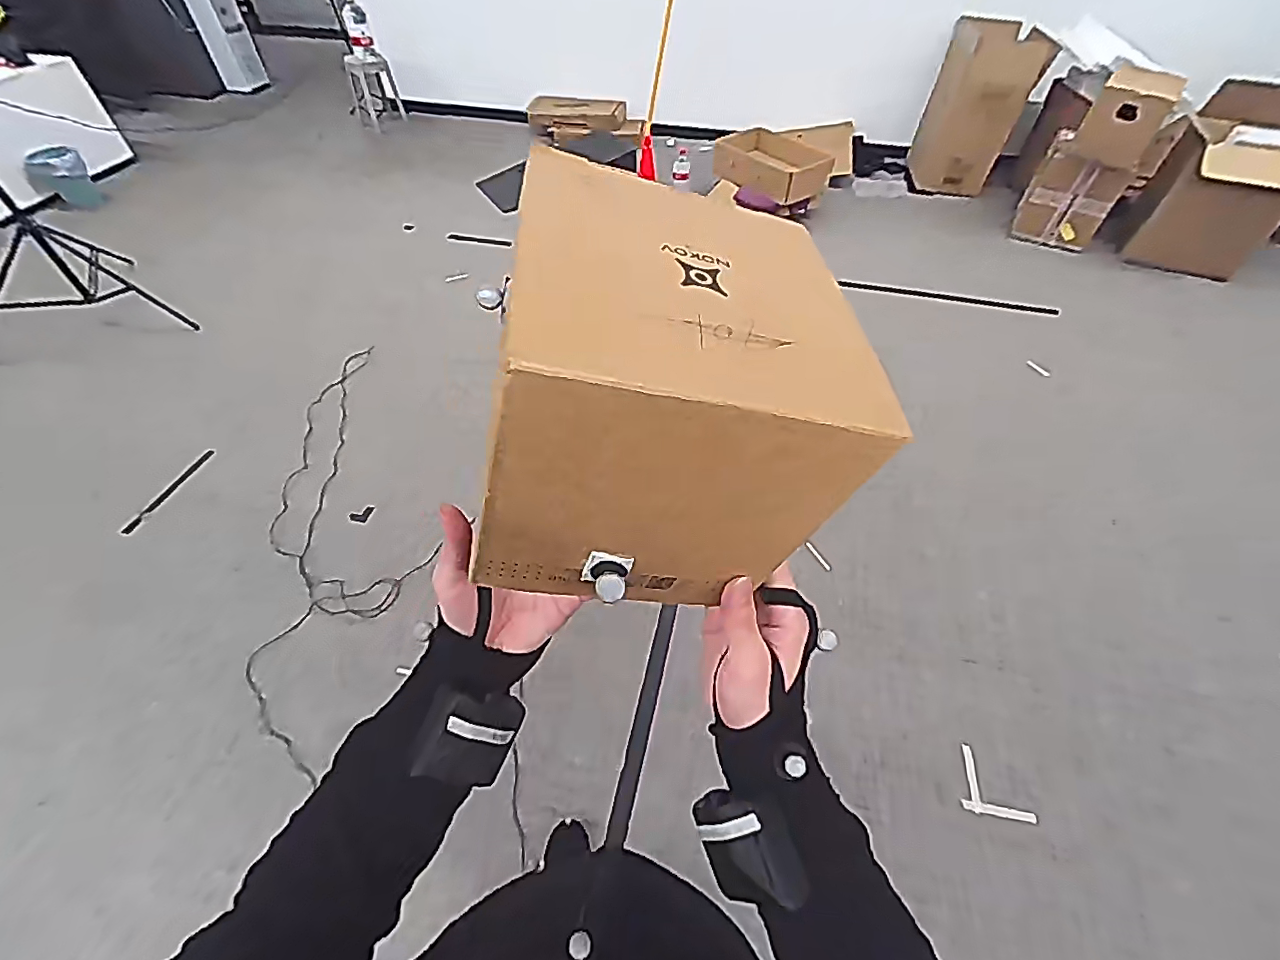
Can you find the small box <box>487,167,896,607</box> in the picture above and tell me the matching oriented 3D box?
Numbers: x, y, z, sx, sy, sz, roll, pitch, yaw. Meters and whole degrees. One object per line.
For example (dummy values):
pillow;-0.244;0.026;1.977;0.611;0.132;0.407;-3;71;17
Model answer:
small box;0.004;-0.043;0.323;0.168;0.176;0.179;6;51;-17
